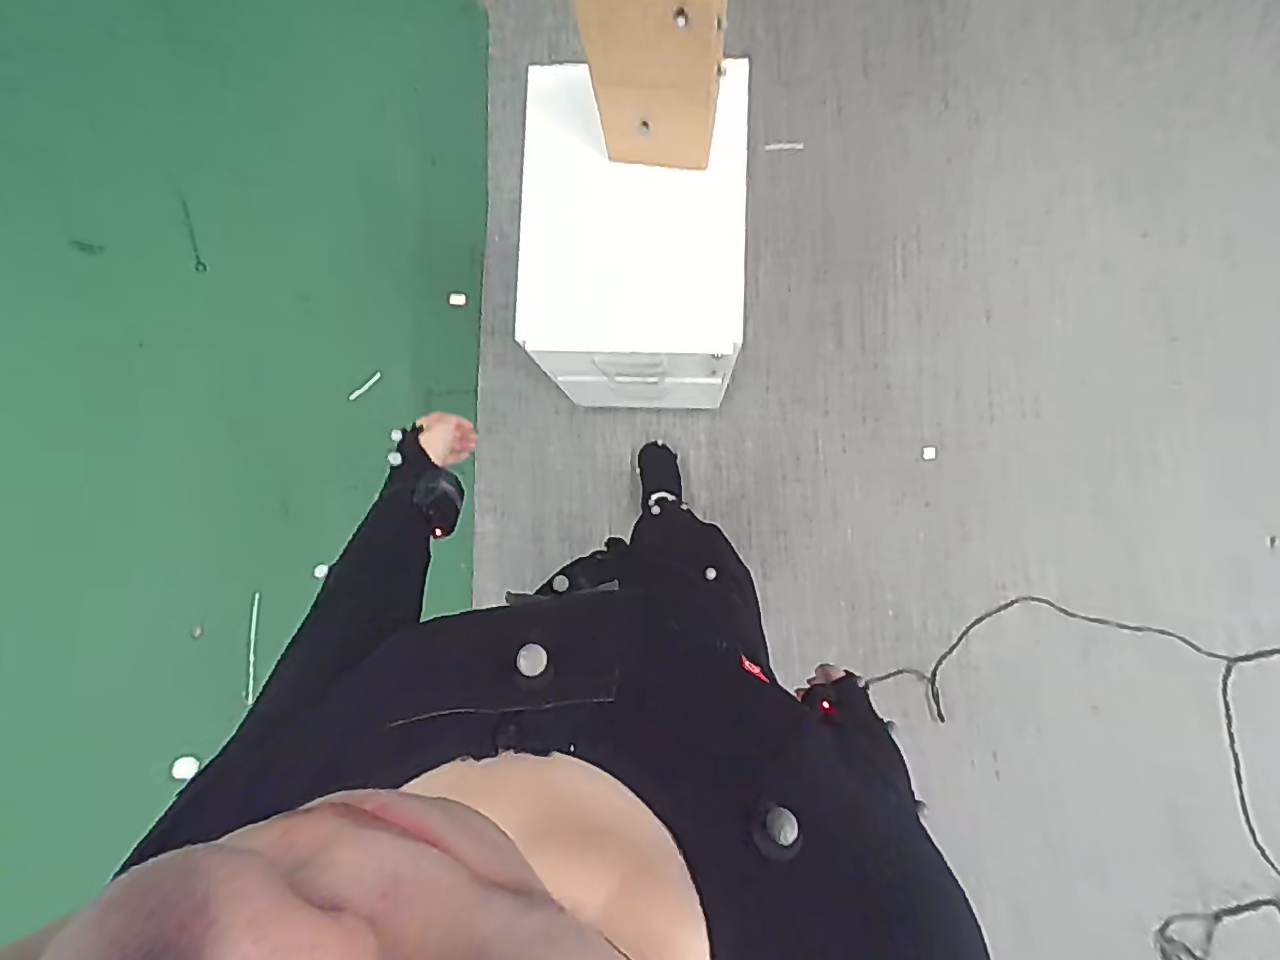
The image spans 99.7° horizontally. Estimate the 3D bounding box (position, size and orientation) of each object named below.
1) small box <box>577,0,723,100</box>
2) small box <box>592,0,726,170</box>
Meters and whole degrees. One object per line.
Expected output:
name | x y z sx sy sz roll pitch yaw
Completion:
small box | 0.018 -0.639 0.706 0.179 0.176 0.168 8 87 4
small box | 0.034 -0.631 0.868 0.179 0.176 0.168 9 87 5
